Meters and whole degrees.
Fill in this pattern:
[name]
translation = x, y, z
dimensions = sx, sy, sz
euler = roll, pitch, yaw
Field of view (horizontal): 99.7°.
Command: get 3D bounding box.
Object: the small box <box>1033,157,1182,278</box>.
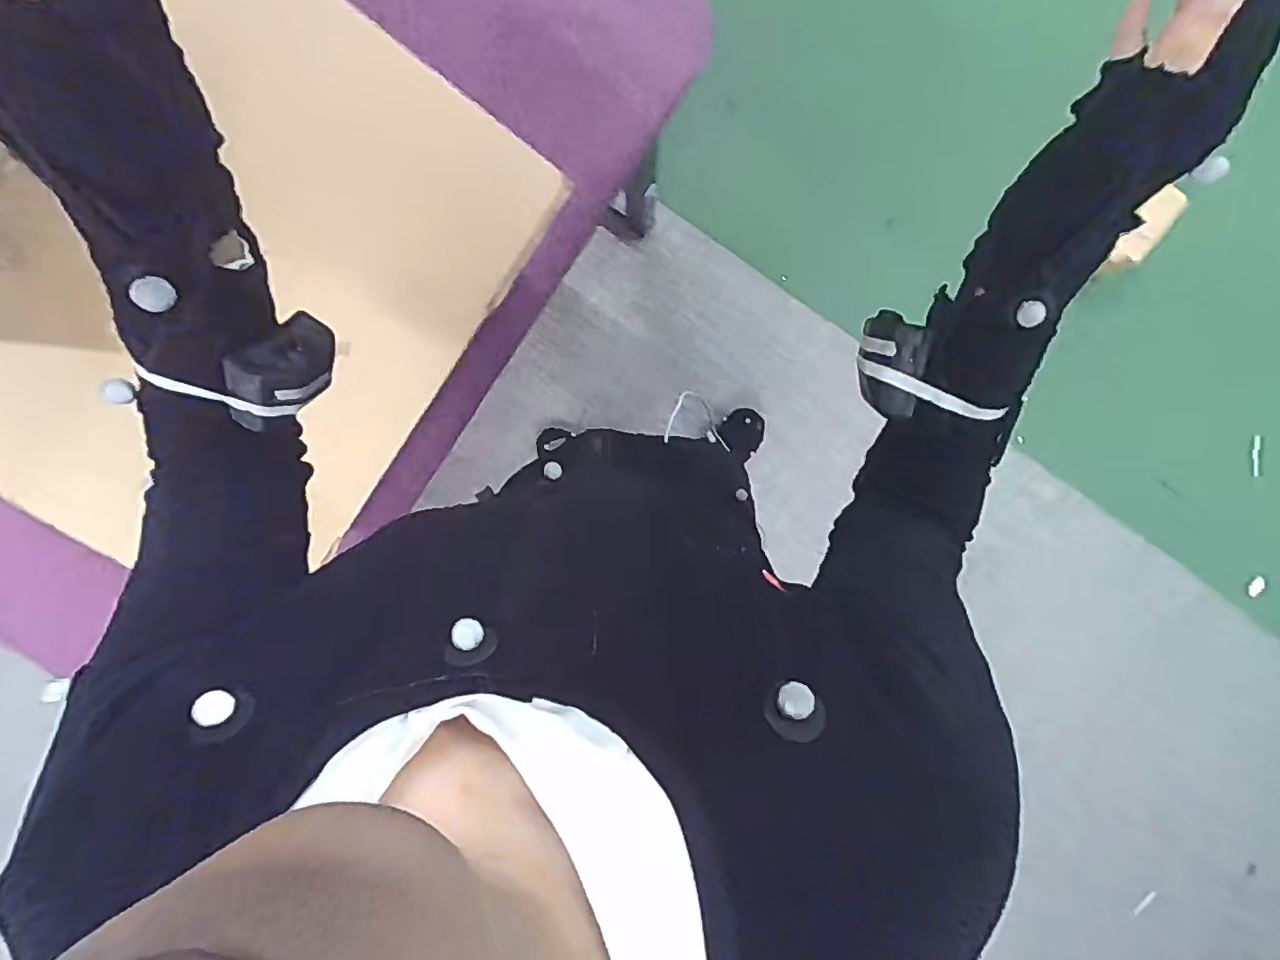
[small box]
translation = 1.105, -0.616, 1.295
dimensions = 0.168, 0.176, 0.179
euler = 36, 97, -5
